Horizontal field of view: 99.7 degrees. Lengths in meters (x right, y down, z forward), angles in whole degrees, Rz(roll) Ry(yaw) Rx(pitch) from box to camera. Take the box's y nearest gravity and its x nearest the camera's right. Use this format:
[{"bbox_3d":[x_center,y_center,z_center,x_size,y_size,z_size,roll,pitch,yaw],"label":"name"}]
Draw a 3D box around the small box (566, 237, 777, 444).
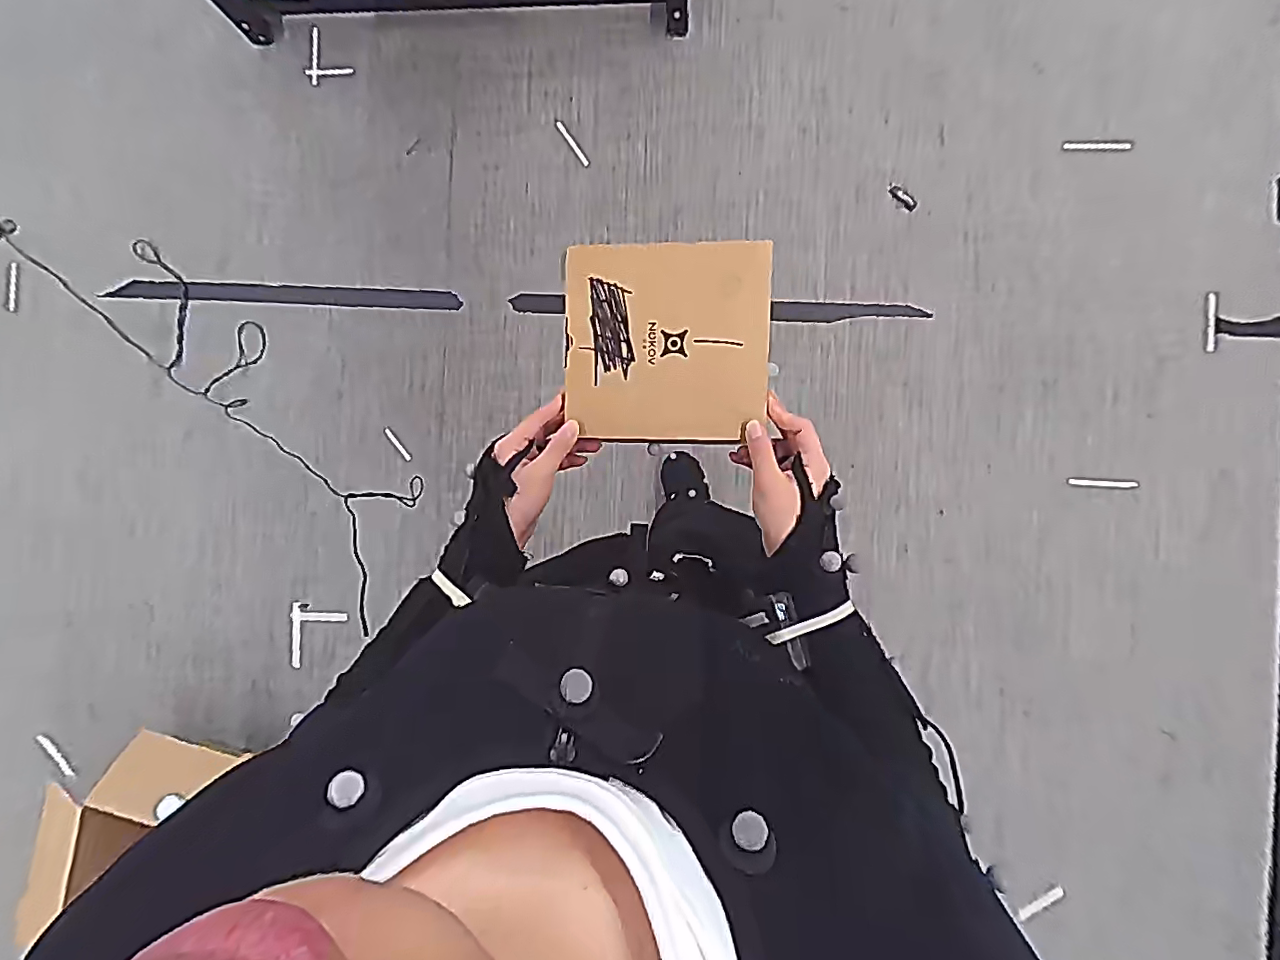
[{"bbox_3d":[0.036,-0.122,0.532,0.179,0.176,0.168,2,93,8],"label":"small box"}]
